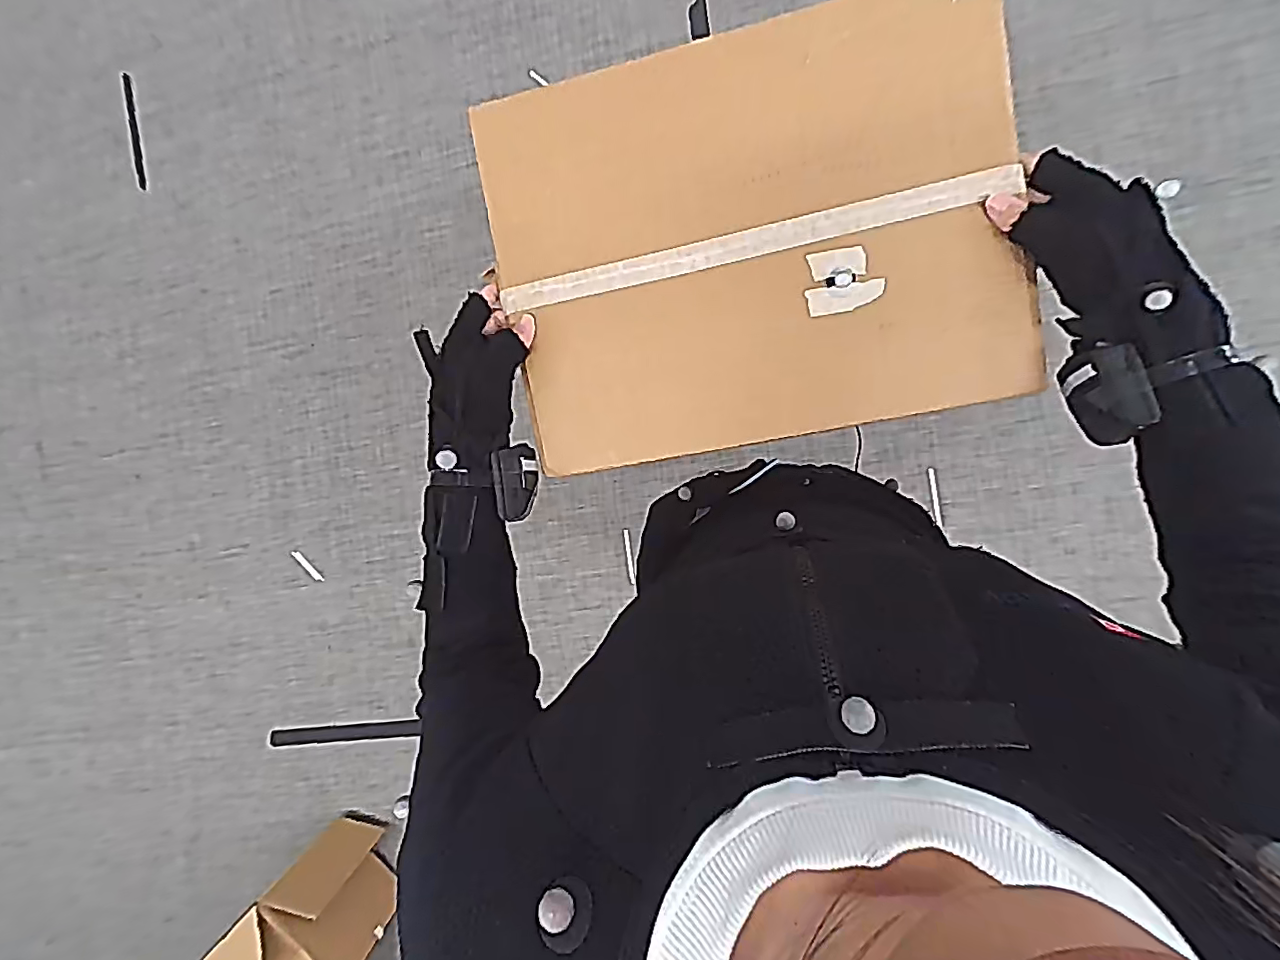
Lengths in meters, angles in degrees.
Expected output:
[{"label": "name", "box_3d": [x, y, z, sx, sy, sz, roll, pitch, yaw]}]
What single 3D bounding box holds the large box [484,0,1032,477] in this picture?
[{"label": "large box", "box_3d": [0.105, -0.204, 0.588, 0.408, 0.320, 0.320, -11, 96, 8]}]
